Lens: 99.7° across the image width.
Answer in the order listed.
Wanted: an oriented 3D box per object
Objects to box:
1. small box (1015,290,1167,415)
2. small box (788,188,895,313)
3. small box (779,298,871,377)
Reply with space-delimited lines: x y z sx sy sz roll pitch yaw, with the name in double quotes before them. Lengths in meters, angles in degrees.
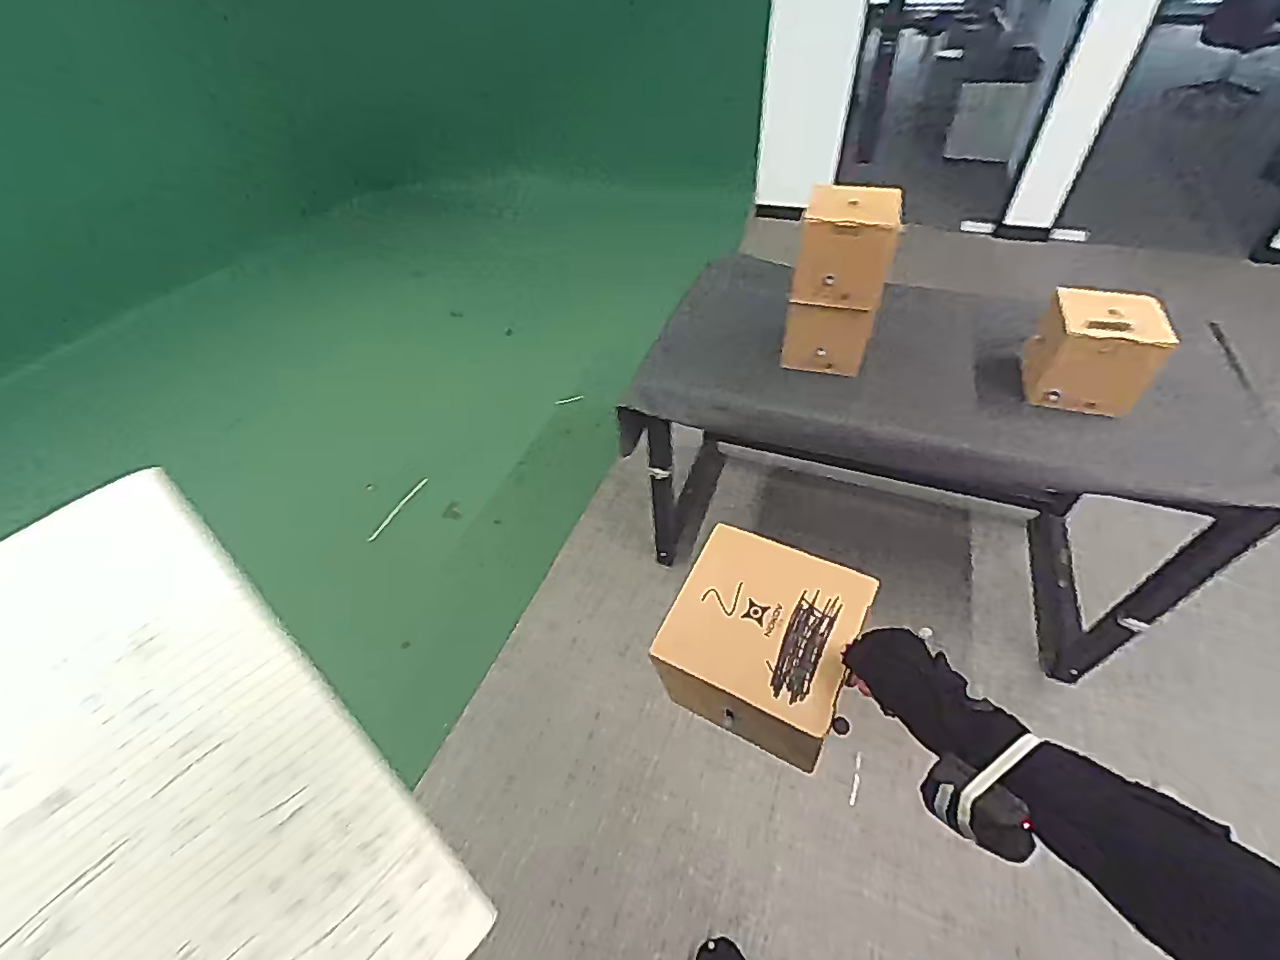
"small box" 0.877 -0.252 1.073 0.168 0.176 0.179 13 48 16
"small box" 0.399 -0.460 1.082 0.168 0.176 0.179 11 49 14
"small box" 0.410 -0.354 1.206 0.168 0.176 0.179 10 48 14
